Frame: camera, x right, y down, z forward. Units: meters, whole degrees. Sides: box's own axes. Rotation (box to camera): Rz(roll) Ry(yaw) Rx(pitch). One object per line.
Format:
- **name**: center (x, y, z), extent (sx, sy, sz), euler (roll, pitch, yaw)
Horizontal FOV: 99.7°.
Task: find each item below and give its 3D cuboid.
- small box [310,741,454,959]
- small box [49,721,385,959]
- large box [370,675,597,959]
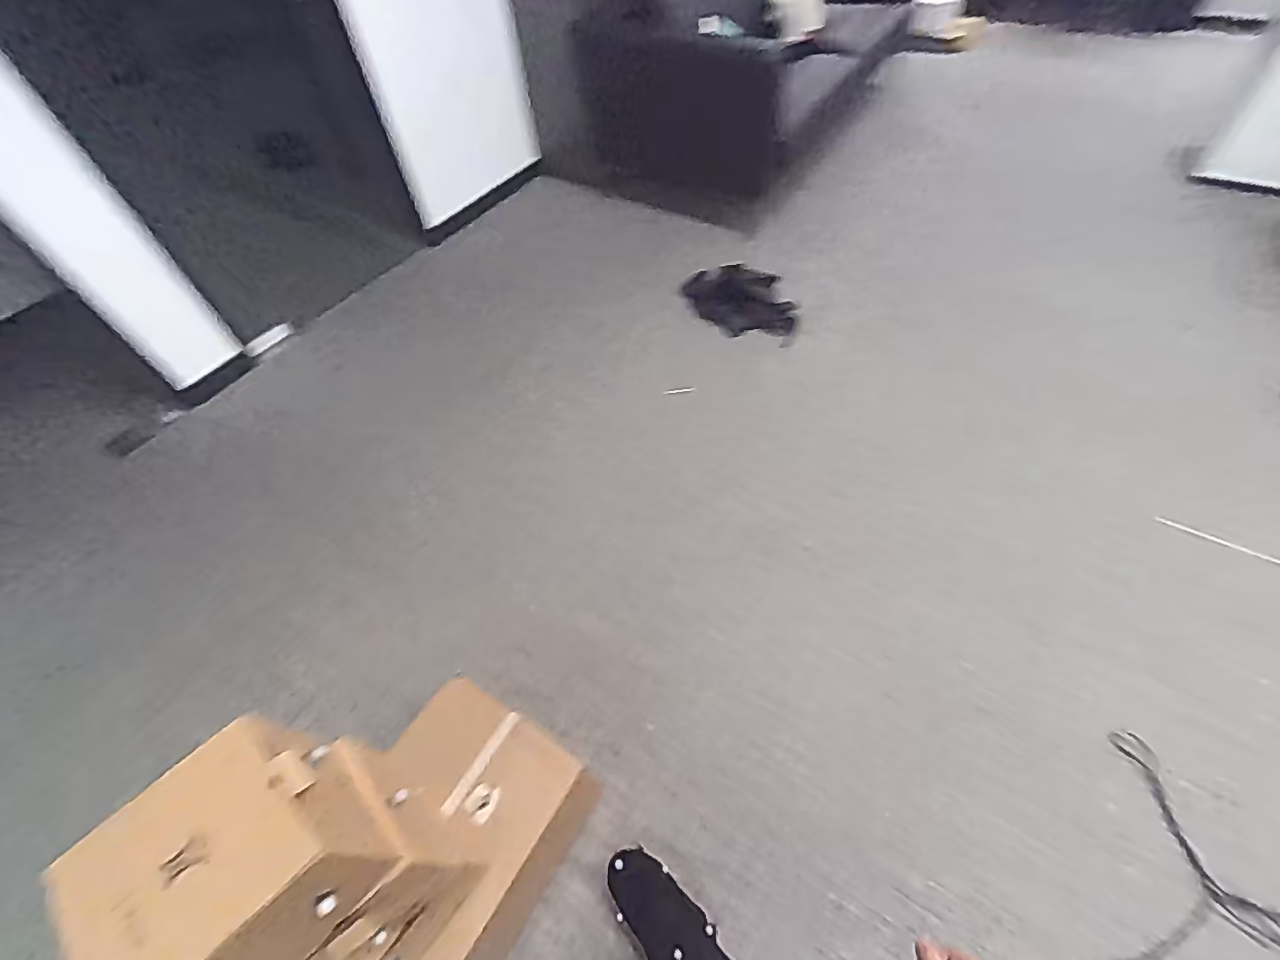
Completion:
- **small box**: center (-0.358, 0.460, 0.654), extent (0.168, 0.176, 0.179), euler (-39, 60, -23)
- **small box**: center (-0.376, 0.373, 0.517), extent (0.168, 0.176, 0.179), euler (35, 63, 27)
- **large box**: center (-0.327, 0.662, 1.009), extent (0.320, 0.320, 0.408), euler (25, 58, 20)
